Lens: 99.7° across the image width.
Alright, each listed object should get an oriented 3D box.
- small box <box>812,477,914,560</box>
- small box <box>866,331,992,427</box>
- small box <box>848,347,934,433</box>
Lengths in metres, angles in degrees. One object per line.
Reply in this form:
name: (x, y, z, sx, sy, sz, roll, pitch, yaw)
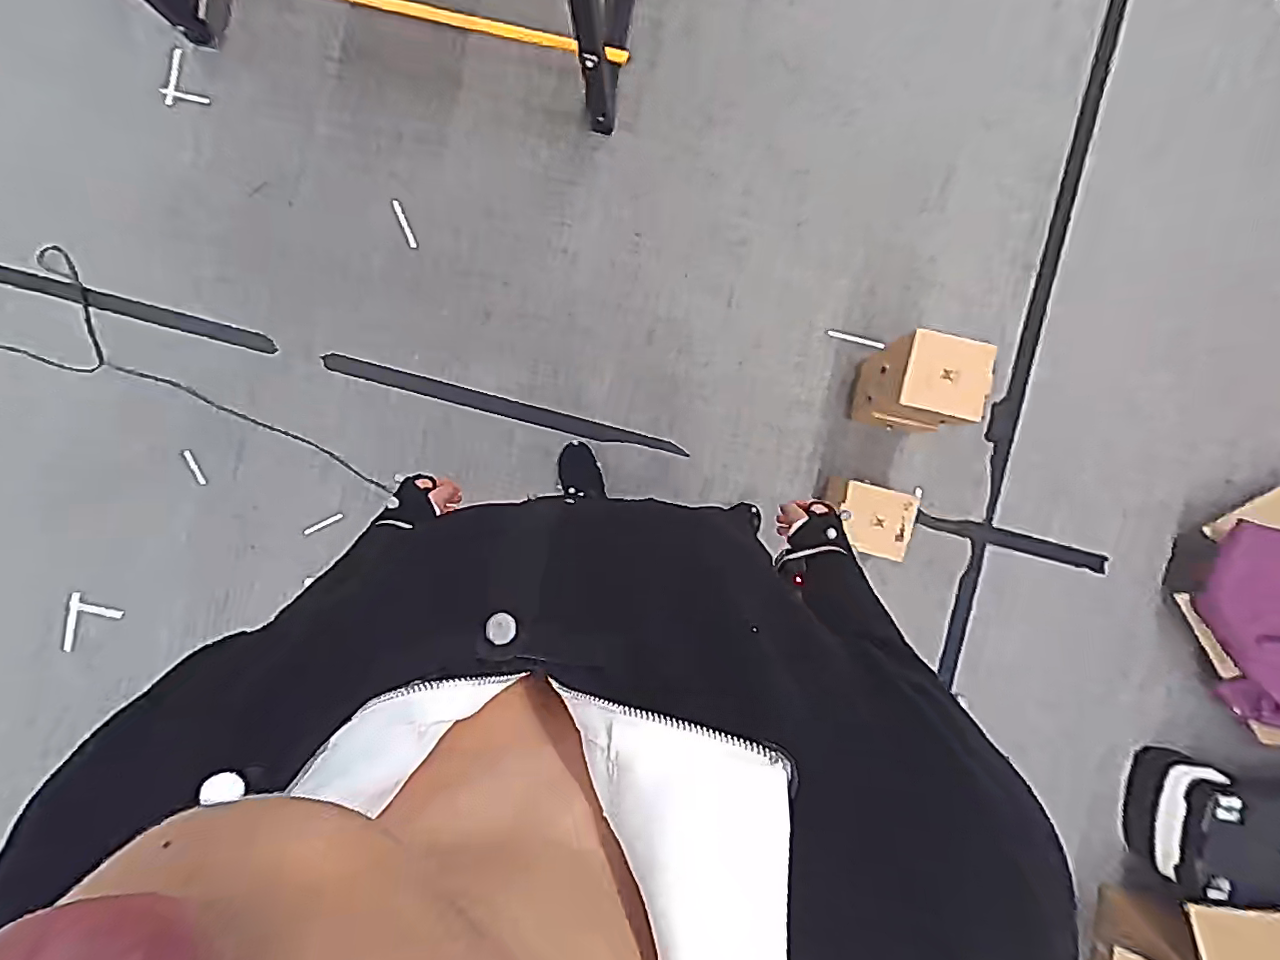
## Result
small box: (0.568, 0.094, 1.402, 0.179, 0.176, 0.168, 15, 93, 2)
small box: (0.644, -0.220, 1.222, 0.179, 0.176, 0.168, 13, 91, 2)
small box: (0.652, -0.222, 1.385, 0.168, 0.176, 0.179, 12, 92, 1)
